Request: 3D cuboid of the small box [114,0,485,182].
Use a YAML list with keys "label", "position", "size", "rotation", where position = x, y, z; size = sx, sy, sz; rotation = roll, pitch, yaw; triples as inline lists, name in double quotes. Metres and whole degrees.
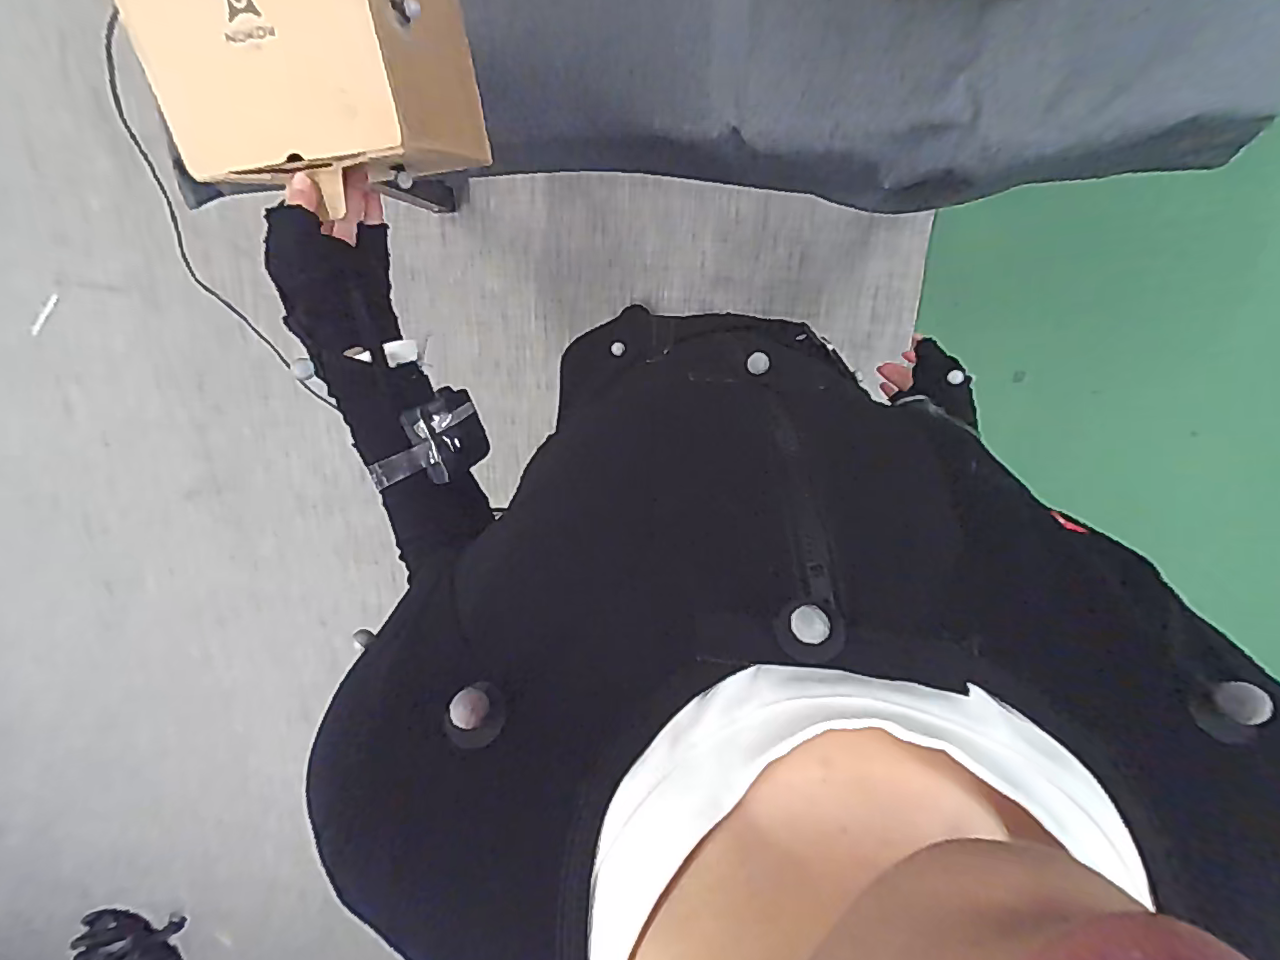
- label: "small box"
  position: [-0.232, -0.326, 0.397]
  size: [0.168, 0.176, 0.179]
  rotation: [-3, 116, 8]
